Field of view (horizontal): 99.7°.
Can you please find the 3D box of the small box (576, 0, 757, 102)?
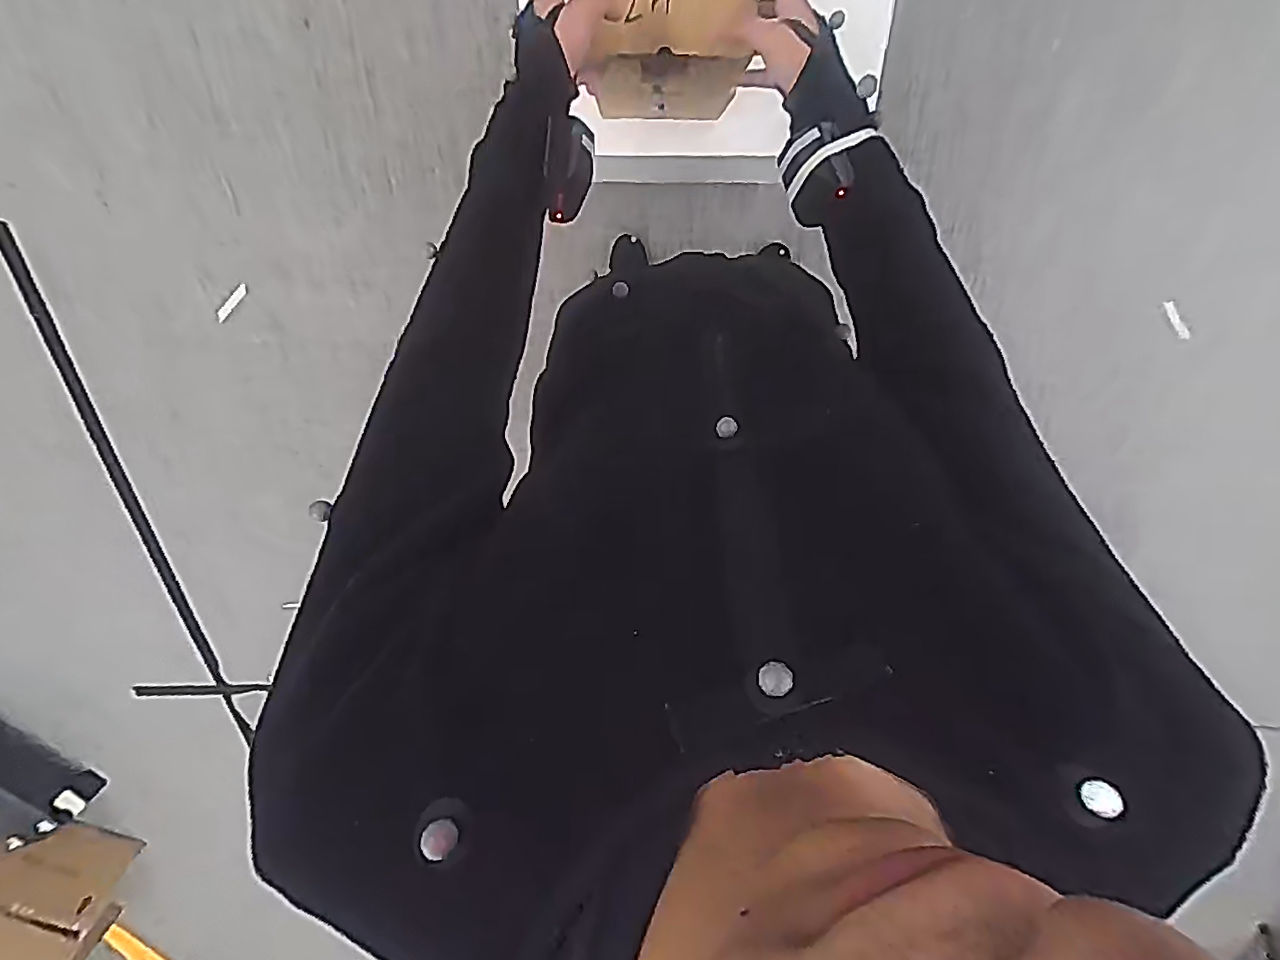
[{"bbox_3d":[0.023,-0.501,0.536,0.168,0.176,0.179,1,115,-1],"label":"small box"}]
